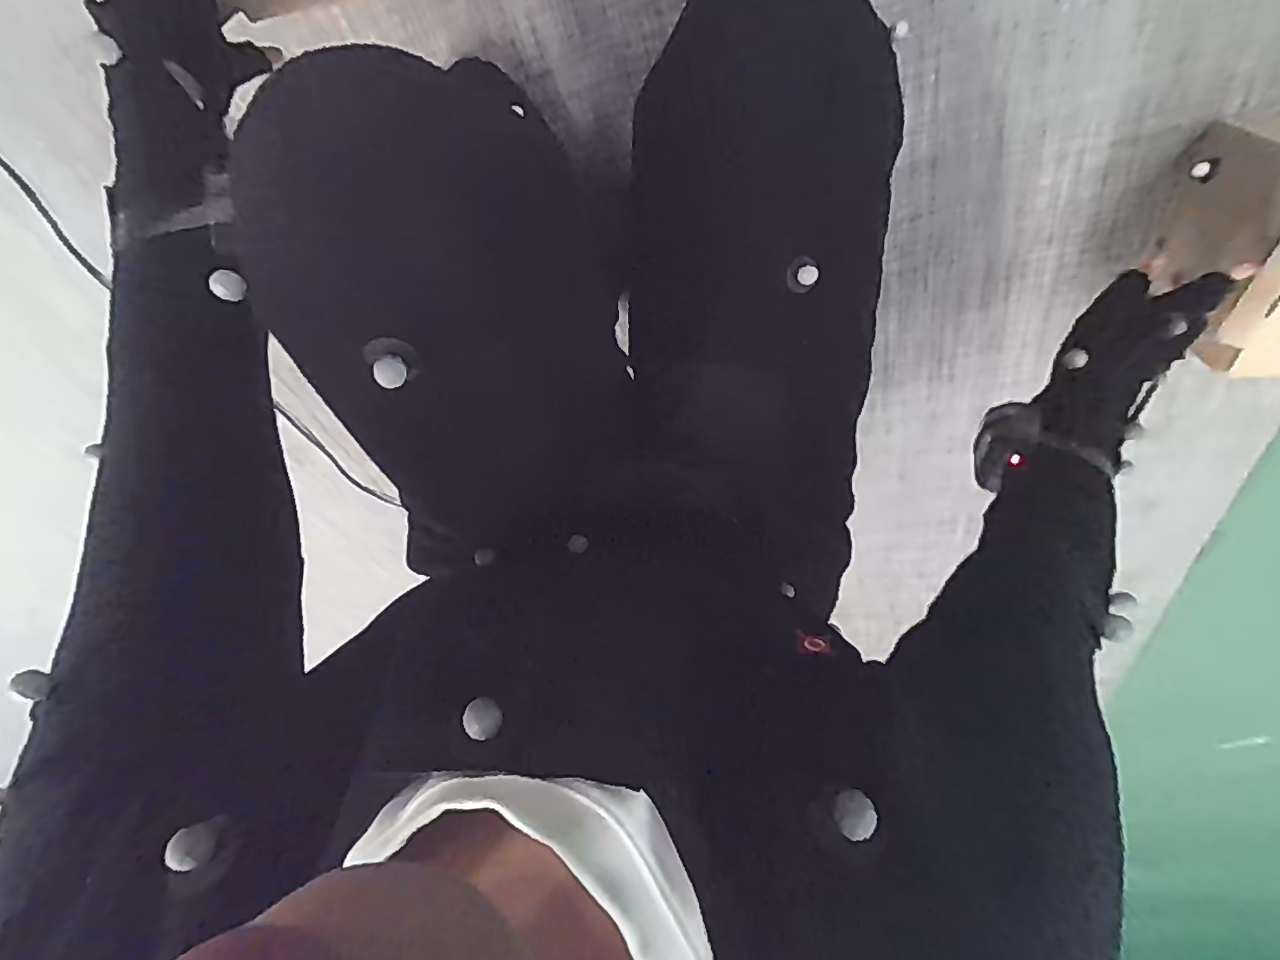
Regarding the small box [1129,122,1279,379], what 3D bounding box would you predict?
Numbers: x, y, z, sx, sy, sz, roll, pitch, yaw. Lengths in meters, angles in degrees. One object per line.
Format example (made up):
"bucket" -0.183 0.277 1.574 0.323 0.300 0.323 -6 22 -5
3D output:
"small box" 0.602 -0.207 0.479 0.179 0.176 0.168 -1 135 8
